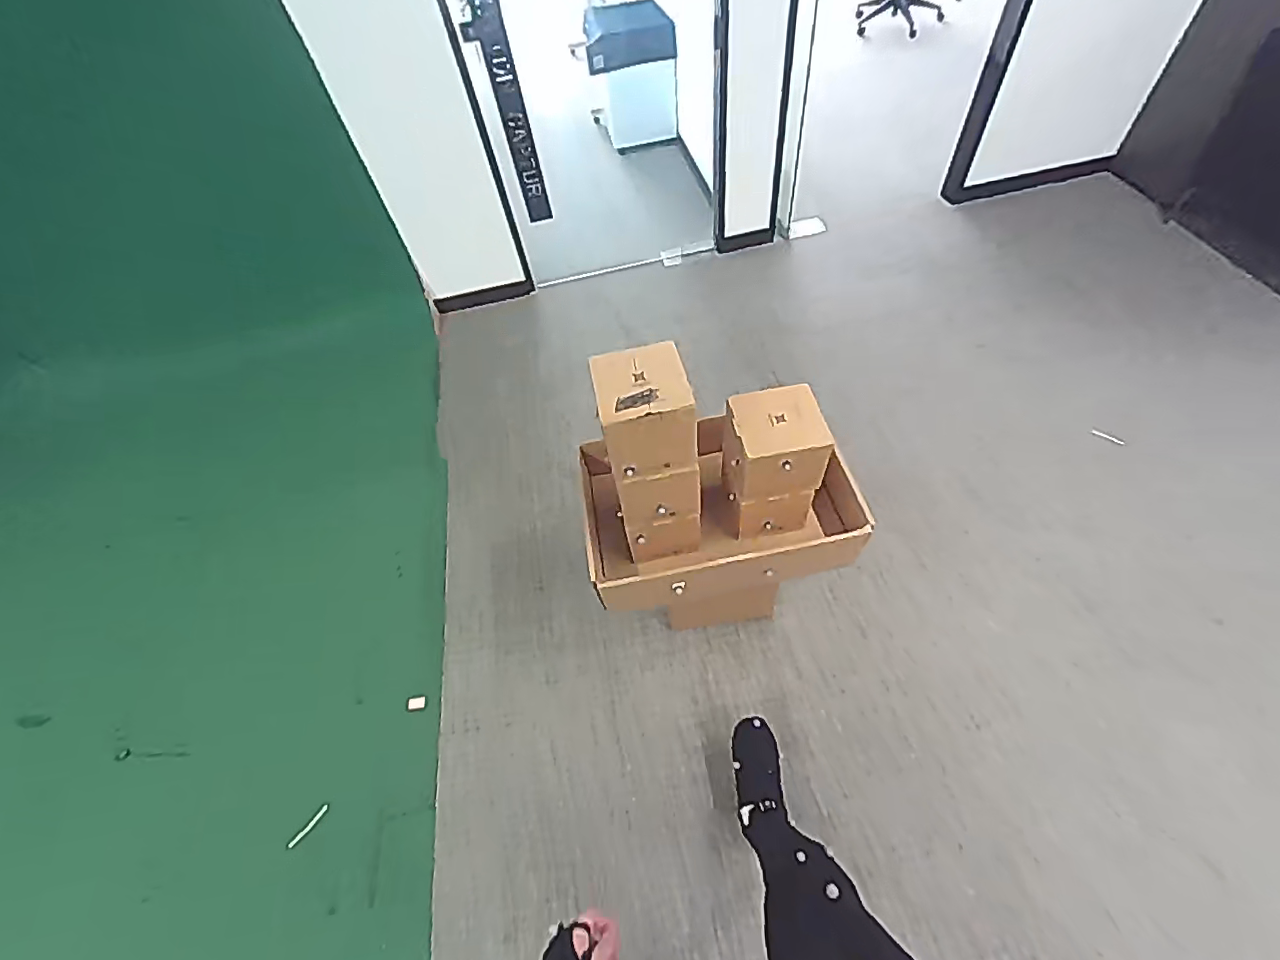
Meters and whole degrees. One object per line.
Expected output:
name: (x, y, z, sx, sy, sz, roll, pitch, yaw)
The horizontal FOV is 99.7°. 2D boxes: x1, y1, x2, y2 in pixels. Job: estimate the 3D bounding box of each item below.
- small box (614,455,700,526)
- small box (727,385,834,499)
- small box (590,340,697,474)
small box: (0.029, -0.029, 1.140, 0.168, 0.176, 0.179, -11, 54, -1)
small box: (0.286, -0.075, 1.147, 0.179, 0.176, 0.168, -9, 56, -1)
small box: (0.009, -0.128, 1.010, 0.168, 0.176, 0.179, -11, 53, -2)
